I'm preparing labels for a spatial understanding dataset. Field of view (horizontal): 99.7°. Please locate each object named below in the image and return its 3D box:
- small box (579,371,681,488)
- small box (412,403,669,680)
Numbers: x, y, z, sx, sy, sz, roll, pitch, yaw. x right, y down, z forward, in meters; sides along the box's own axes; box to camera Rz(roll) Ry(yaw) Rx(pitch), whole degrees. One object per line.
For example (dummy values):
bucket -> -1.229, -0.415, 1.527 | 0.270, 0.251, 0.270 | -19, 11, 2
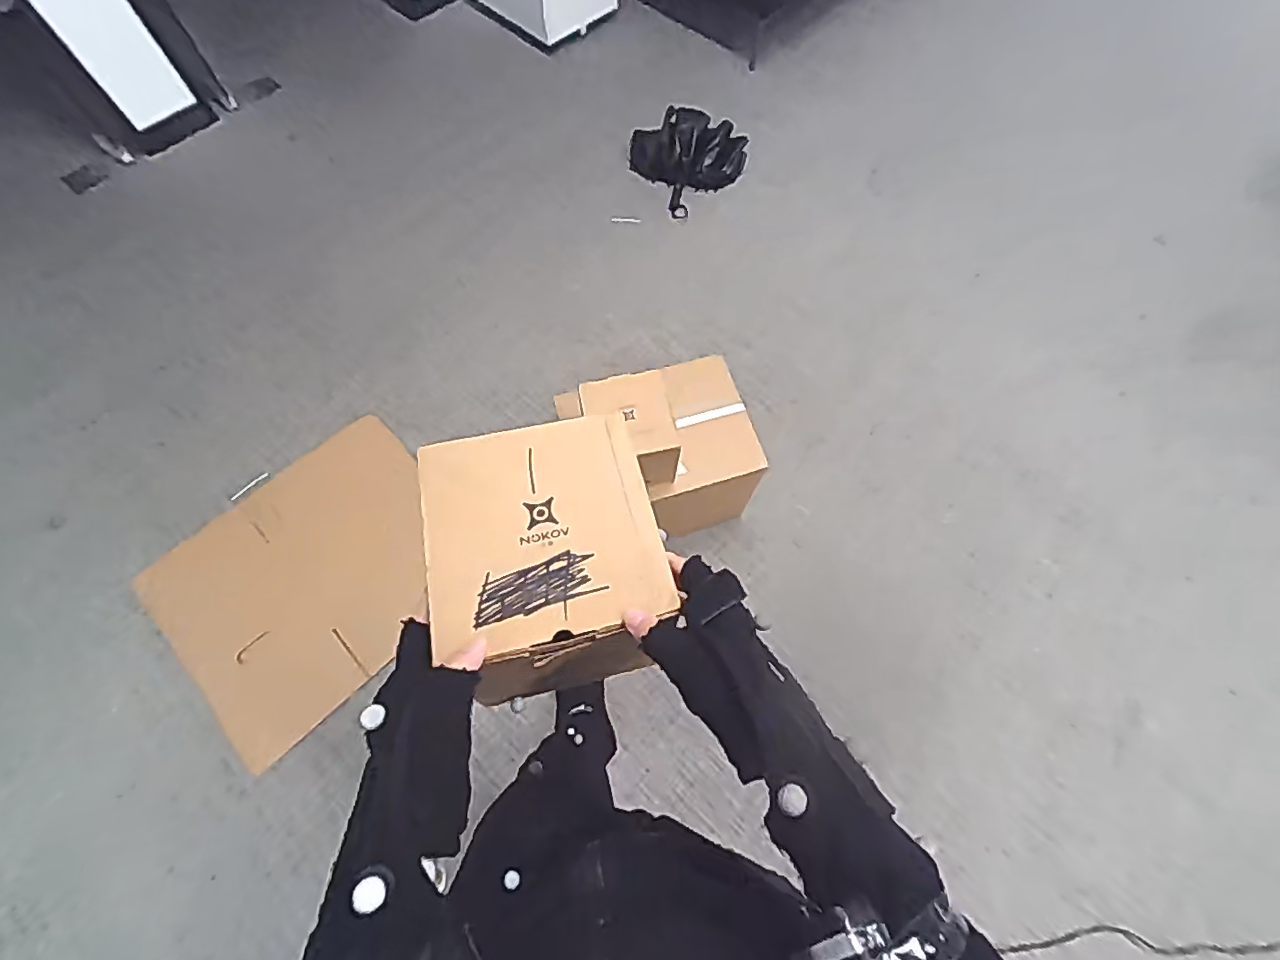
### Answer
small box -> -0.023, -0.091, 1.092 | 0.168, 0.176, 0.179 | -12, 69, -5
small box -> -0.081, 0.064, 0.474 | 0.168, 0.176, 0.179 | -14, 64, -10
